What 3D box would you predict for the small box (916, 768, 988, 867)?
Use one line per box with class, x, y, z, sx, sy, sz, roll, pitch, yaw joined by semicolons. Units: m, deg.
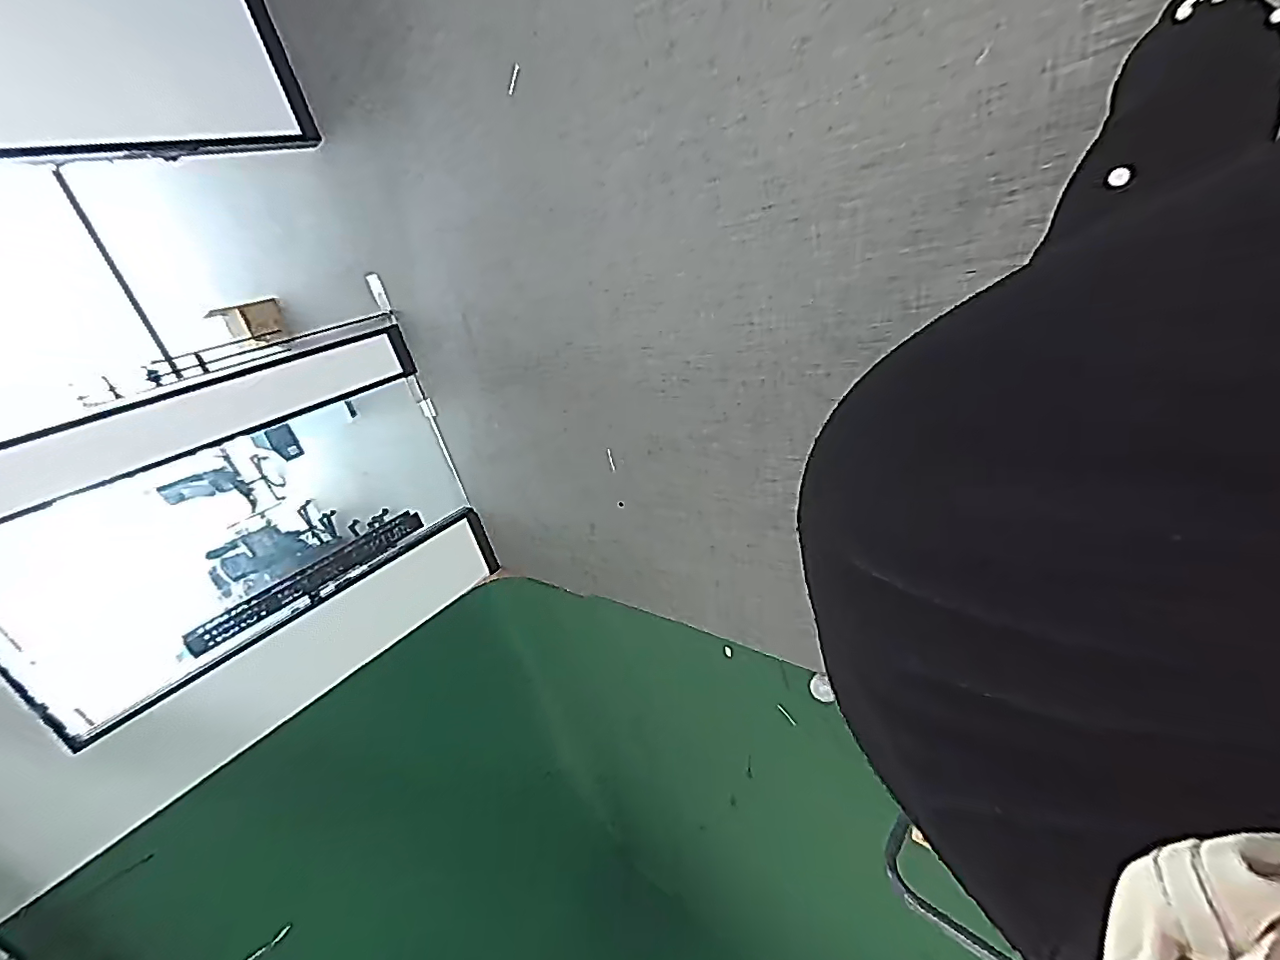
small box;0.993;1.055;1.708;0.168;0.176;0.179;16;126;36
